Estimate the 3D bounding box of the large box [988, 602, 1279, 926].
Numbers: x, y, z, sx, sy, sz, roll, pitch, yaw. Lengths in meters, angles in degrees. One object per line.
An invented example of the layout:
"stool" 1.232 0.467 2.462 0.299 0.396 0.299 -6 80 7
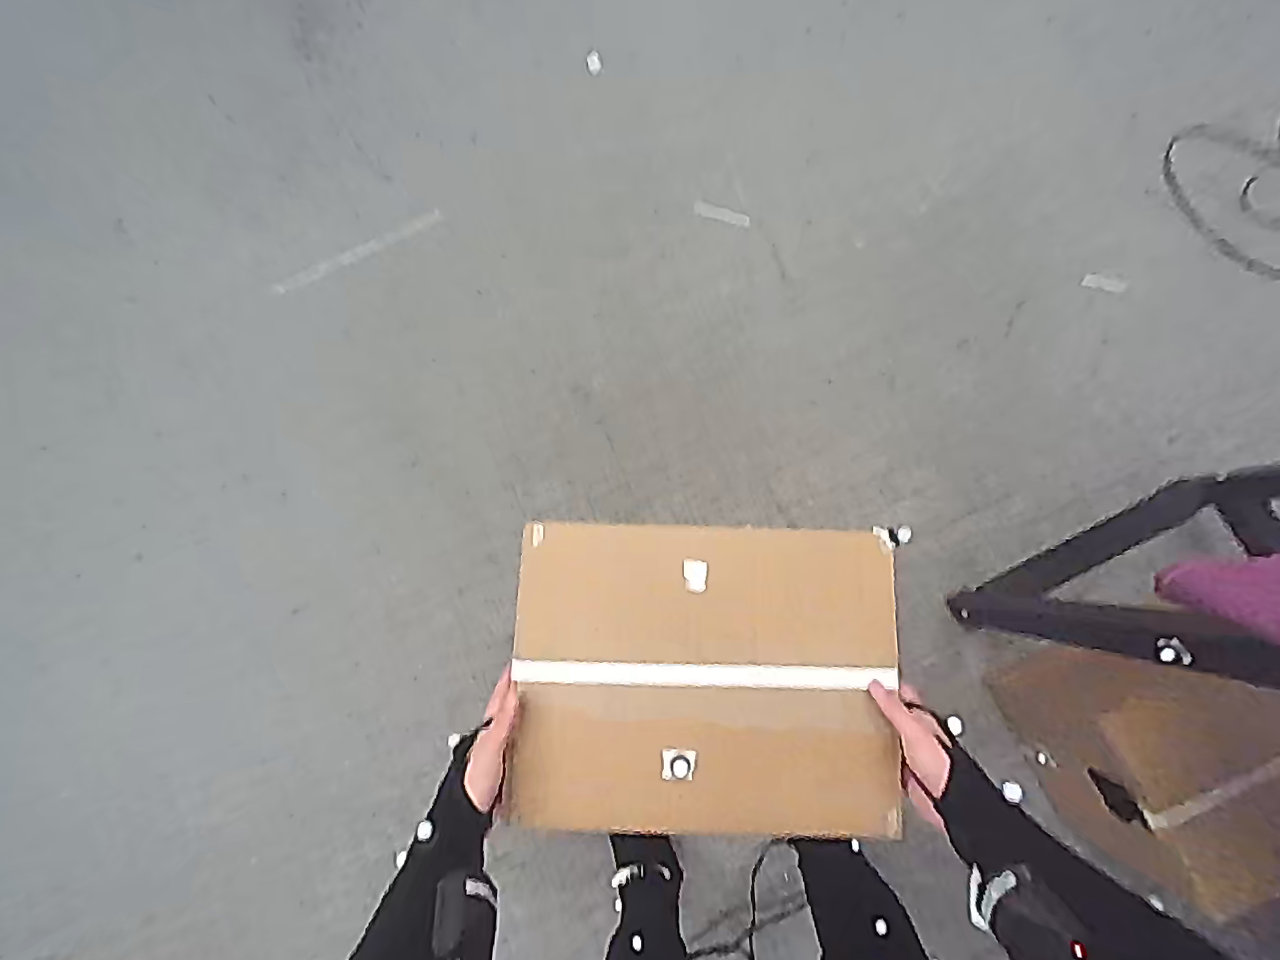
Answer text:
"large box" 0.941 0.442 0.944 0.408 0.320 0.320 -25 81 -2
